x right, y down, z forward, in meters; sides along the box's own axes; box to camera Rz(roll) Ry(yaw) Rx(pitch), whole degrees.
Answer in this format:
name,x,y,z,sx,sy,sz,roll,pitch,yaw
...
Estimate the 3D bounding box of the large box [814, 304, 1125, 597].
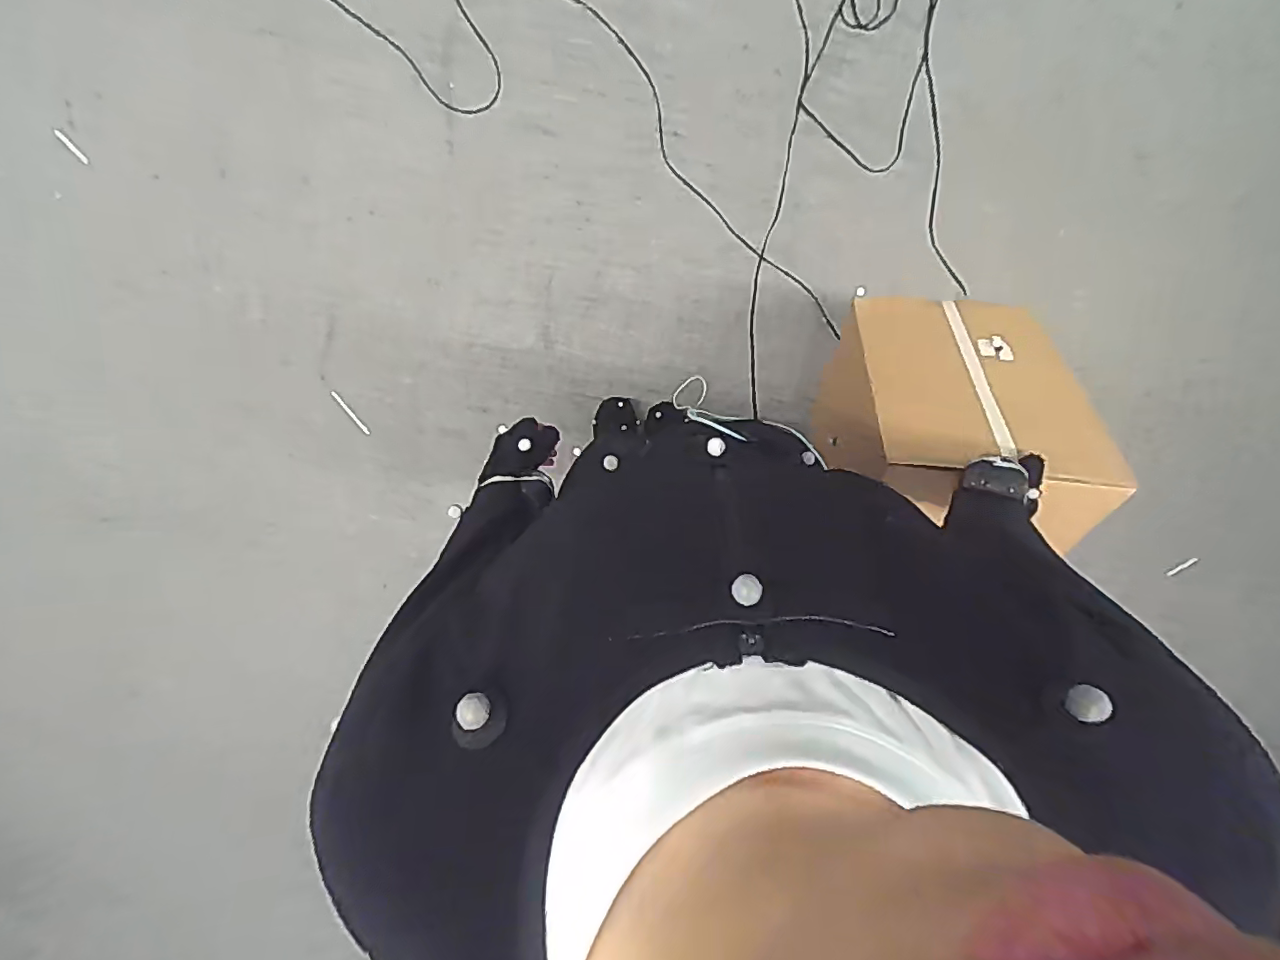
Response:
name,x,y,z,sx,sy,sz,roll,pitch,yaw
large box,0.505,-0.054,0.947,0.320,0.408,0.320,7,140,5
